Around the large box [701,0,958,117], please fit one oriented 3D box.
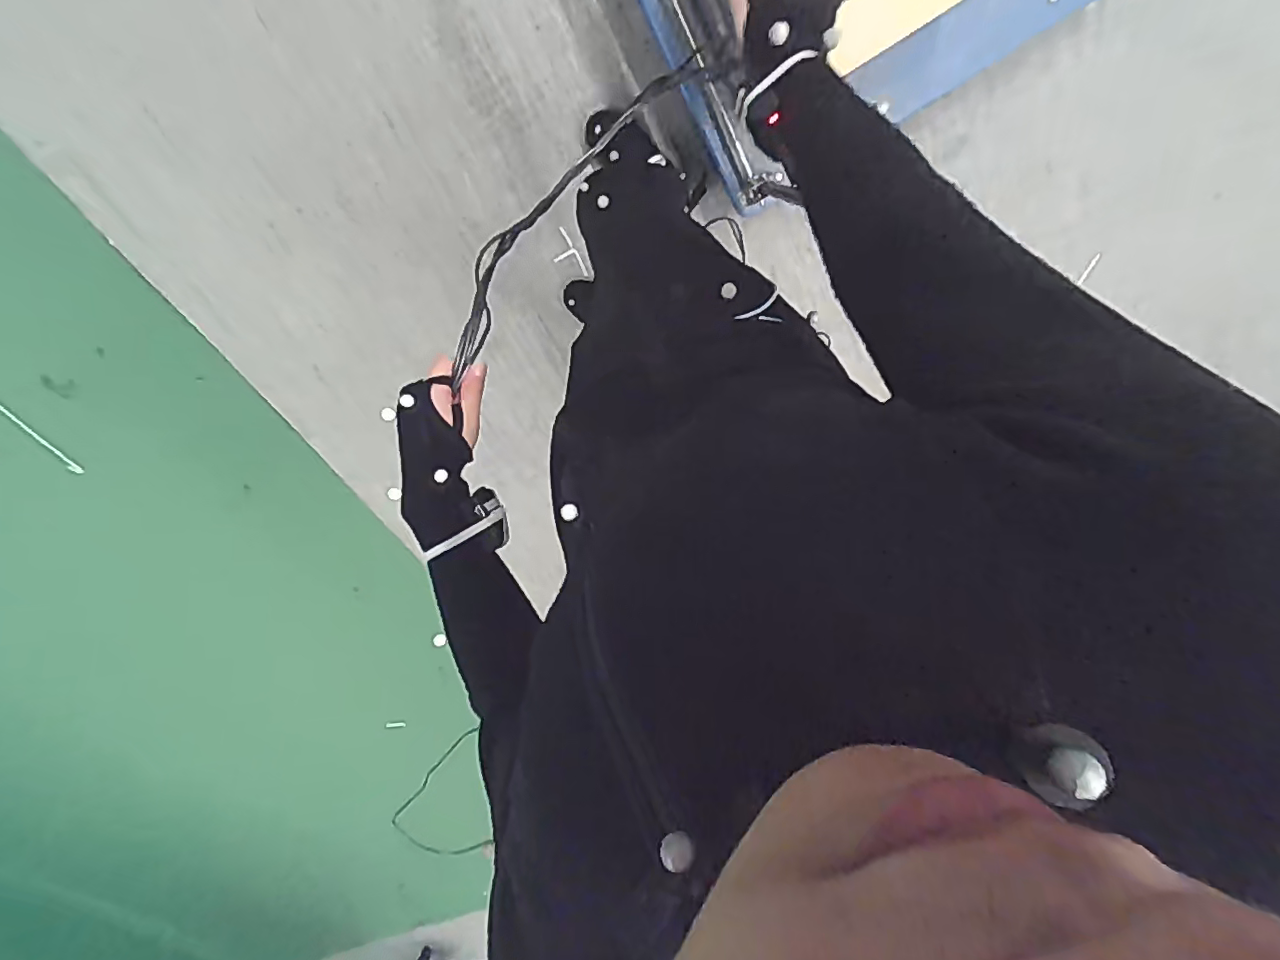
[{"bbox_3d":[0.326,-0.872,0.879,0.408,0.320,0.320,-27,119,11],"label":"large box"}]
